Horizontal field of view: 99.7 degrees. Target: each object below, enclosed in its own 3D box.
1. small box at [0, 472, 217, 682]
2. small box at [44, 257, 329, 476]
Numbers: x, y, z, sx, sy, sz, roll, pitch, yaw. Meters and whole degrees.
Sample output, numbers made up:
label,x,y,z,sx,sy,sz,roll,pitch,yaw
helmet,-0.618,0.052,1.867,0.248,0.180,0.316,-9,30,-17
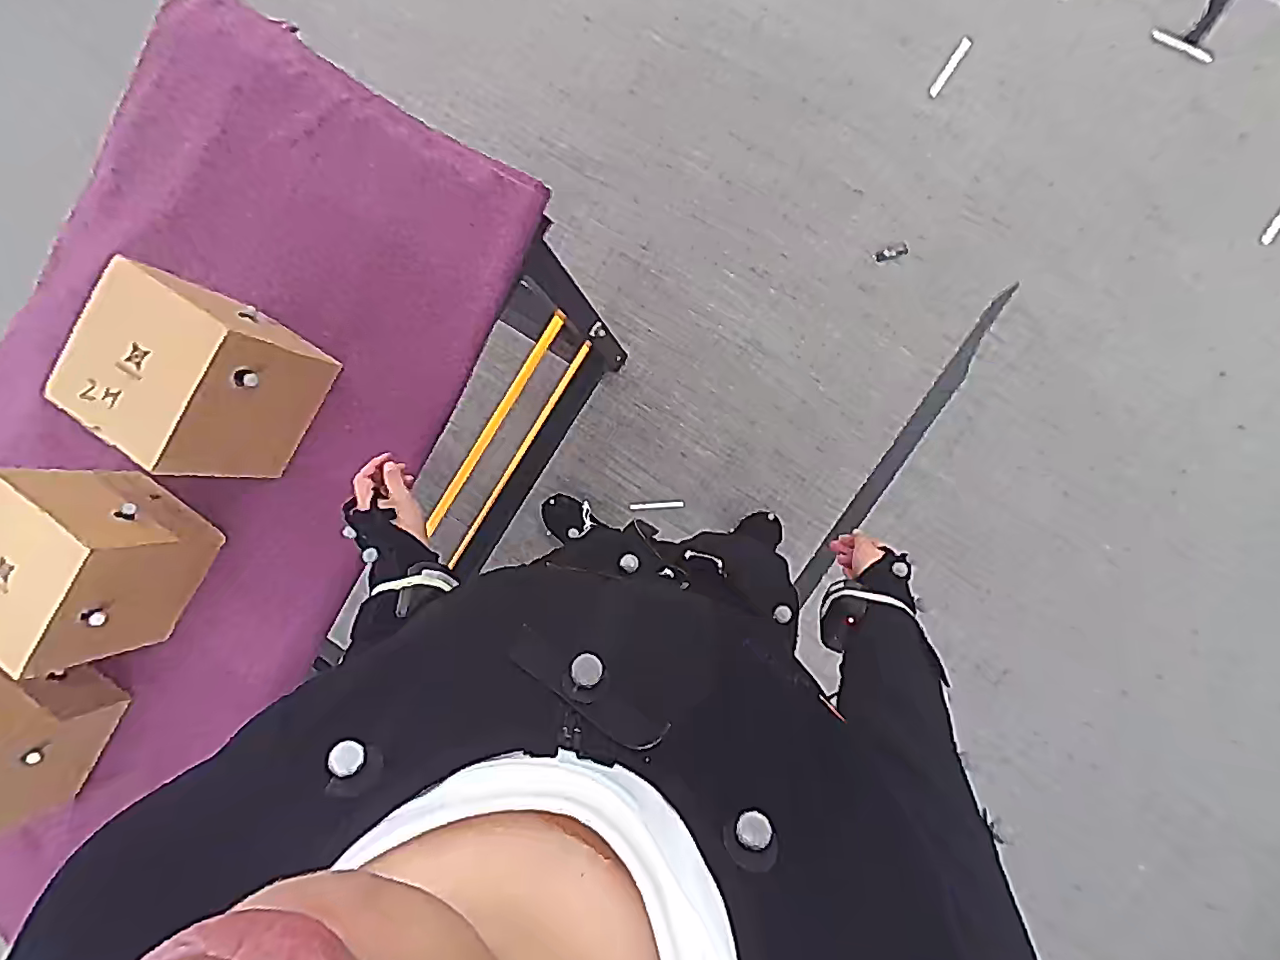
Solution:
label,x,y,z,sx,sy,sz,roll,pitch,yaw
small box,-0.680,0.104,0.665,0.168,0.176,0.179,33,94,7
small box,-0.513,-0.119,0.641,0.168,0.176,0.179,32,94,9
